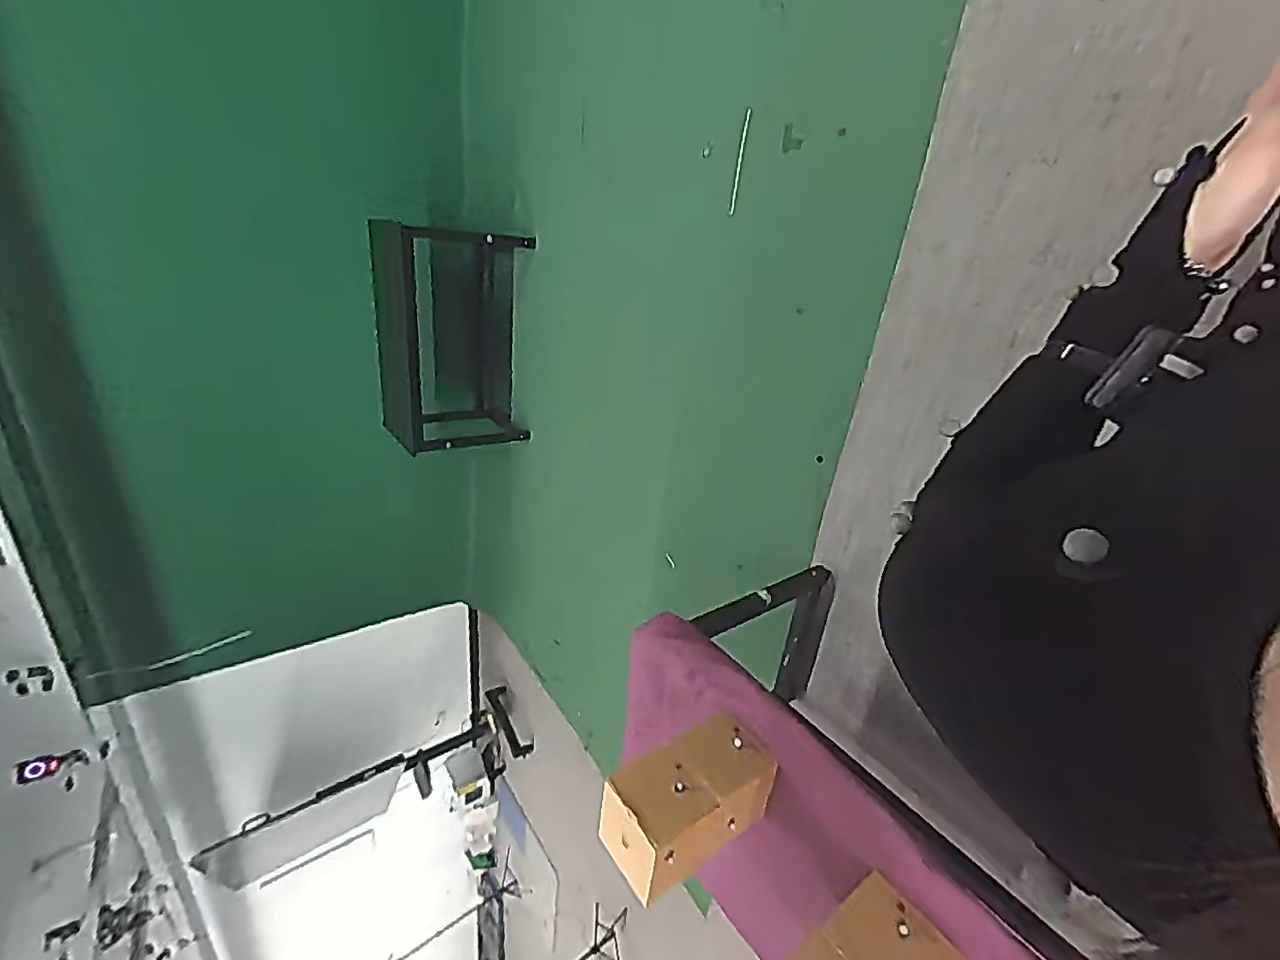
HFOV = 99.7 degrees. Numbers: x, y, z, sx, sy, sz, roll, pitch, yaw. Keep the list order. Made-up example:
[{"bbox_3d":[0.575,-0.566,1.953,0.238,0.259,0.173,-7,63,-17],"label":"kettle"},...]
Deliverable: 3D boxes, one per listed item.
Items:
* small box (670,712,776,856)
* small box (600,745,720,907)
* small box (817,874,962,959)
[{"bbox_3d":[0.168,0.643,1.163,0.168,0.176,0.179,32,124,44],"label":"small box"},{"bbox_3d":[0.039,0.673,1.070,0.168,0.176,0.179,32,123,45],"label":"small box"},{"bbox_3d":[0.401,0.819,0.897,0.168,0.176,0.179,30,123,45],"label":"small box"}]
